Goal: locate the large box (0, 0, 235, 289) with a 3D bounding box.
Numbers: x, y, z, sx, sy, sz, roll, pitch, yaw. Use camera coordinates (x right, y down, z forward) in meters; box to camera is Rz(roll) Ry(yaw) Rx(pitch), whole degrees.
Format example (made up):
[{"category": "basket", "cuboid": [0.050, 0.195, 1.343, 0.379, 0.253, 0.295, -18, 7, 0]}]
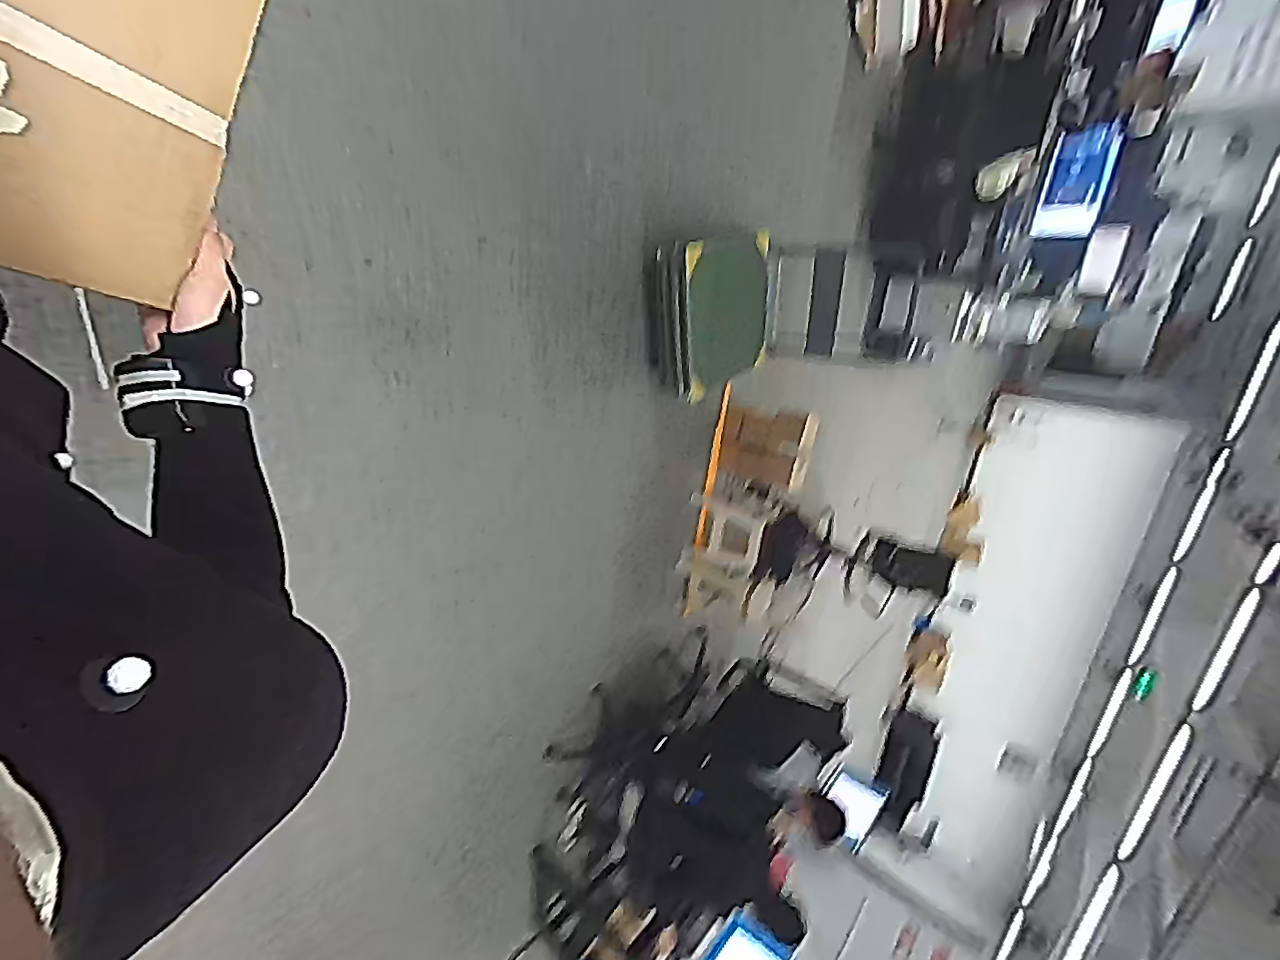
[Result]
[{"category": "large box", "cuboid": [-0.565, -0.373, 0.340, 0.408, 0.320, 0.320, 2, 118, -59]}]
